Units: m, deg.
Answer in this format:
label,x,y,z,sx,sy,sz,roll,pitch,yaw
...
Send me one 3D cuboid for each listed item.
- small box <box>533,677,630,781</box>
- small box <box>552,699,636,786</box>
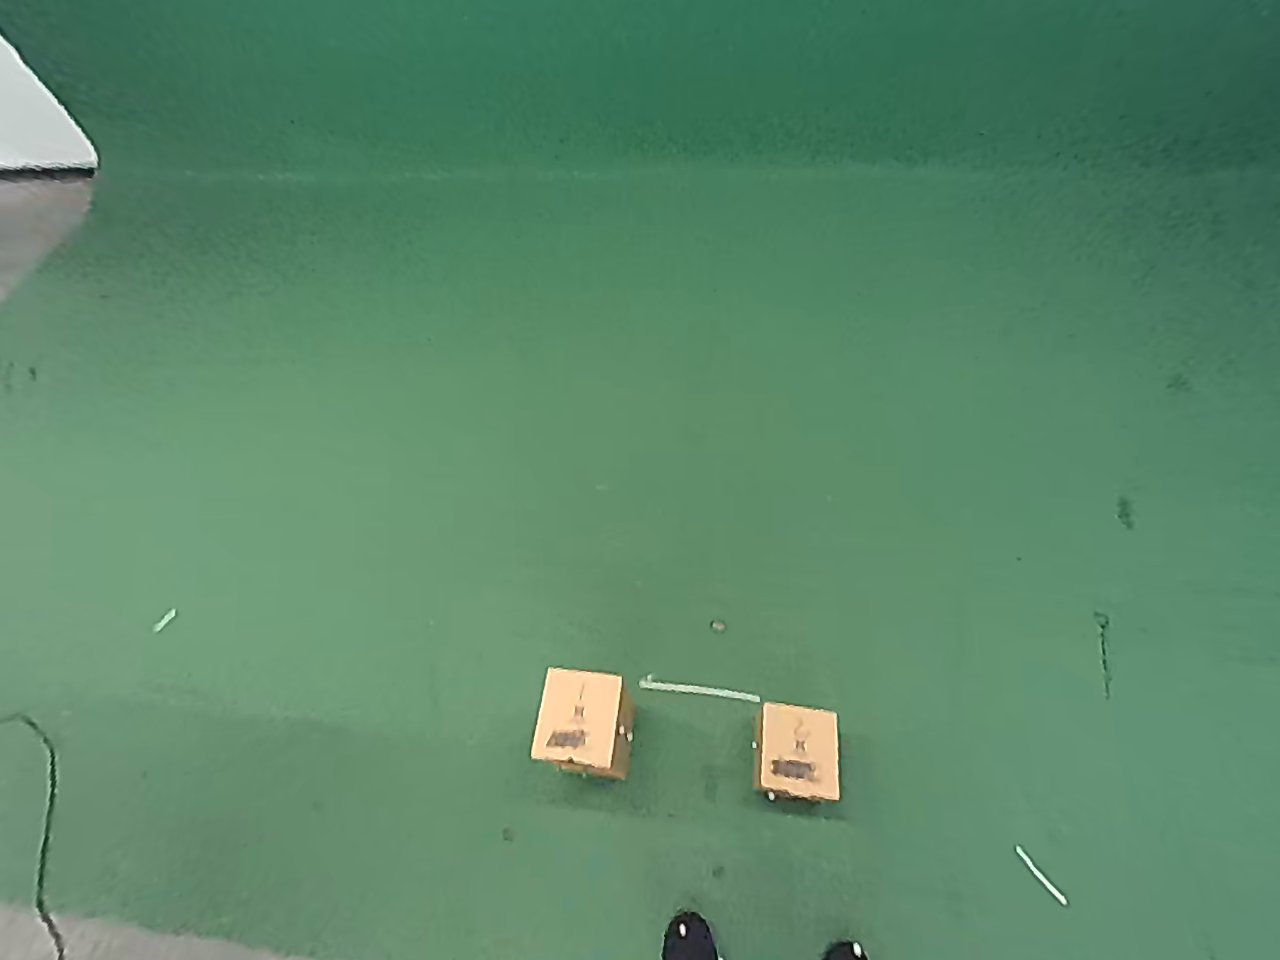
label,x,y,z,sx,sy,sz,roll,pitch,yaw
small box,-0.116,0.543,1.172,0.168,0.176,0.179,4,58,7
small box,-0.104,0.630,1.310,0.168,0.176,0.179,4,59,7
